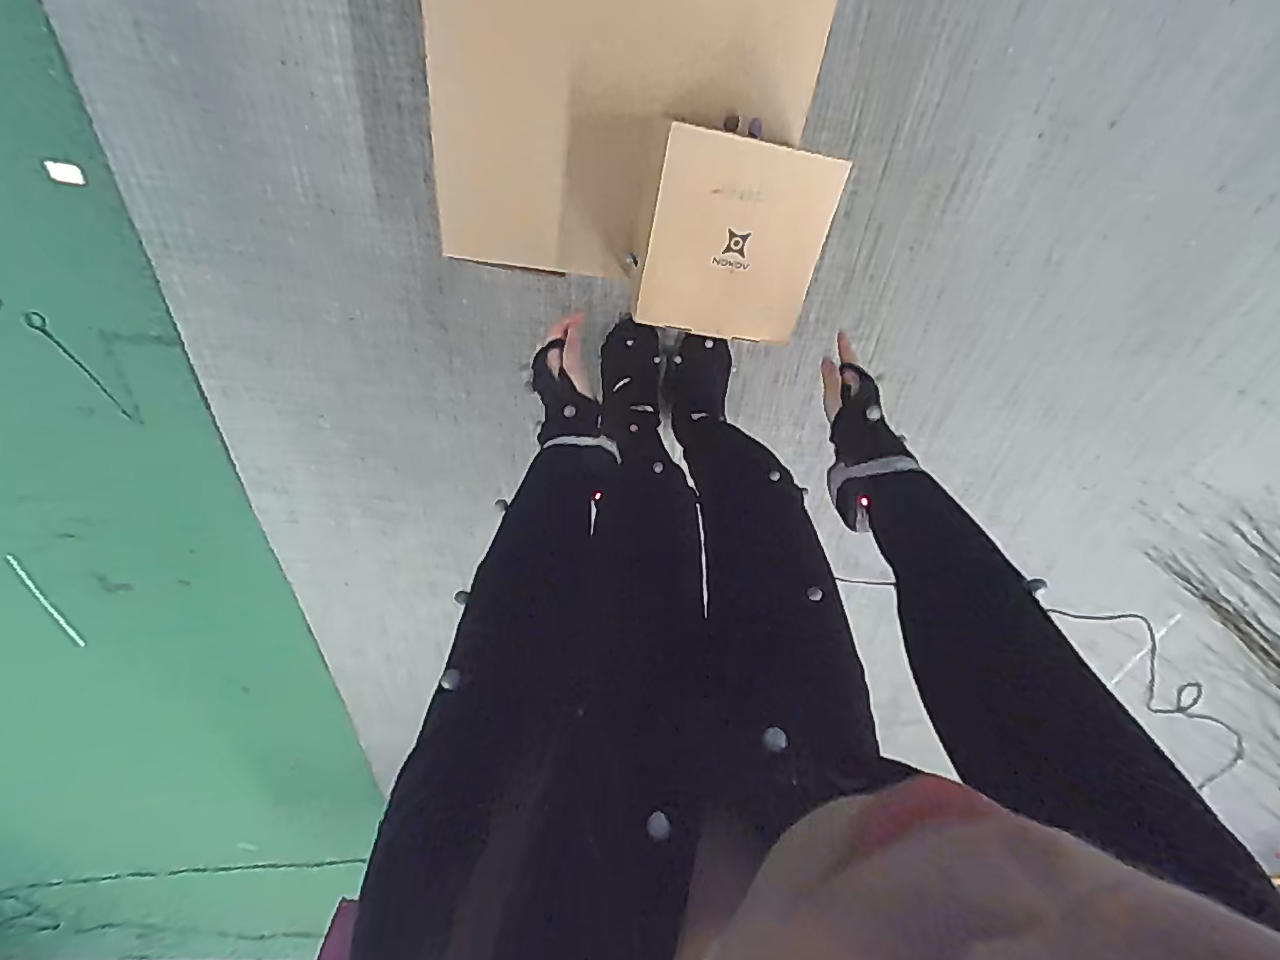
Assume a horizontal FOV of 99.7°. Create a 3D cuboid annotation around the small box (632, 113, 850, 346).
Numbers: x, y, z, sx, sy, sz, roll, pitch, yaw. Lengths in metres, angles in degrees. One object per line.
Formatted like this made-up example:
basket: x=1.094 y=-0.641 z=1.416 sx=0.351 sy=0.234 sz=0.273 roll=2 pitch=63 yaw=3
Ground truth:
small box: x=0.086 y=-0.267 z=0.572 sx=0.168 sy=0.176 sz=0.179 roll=8 pitch=124 yaw=-9
